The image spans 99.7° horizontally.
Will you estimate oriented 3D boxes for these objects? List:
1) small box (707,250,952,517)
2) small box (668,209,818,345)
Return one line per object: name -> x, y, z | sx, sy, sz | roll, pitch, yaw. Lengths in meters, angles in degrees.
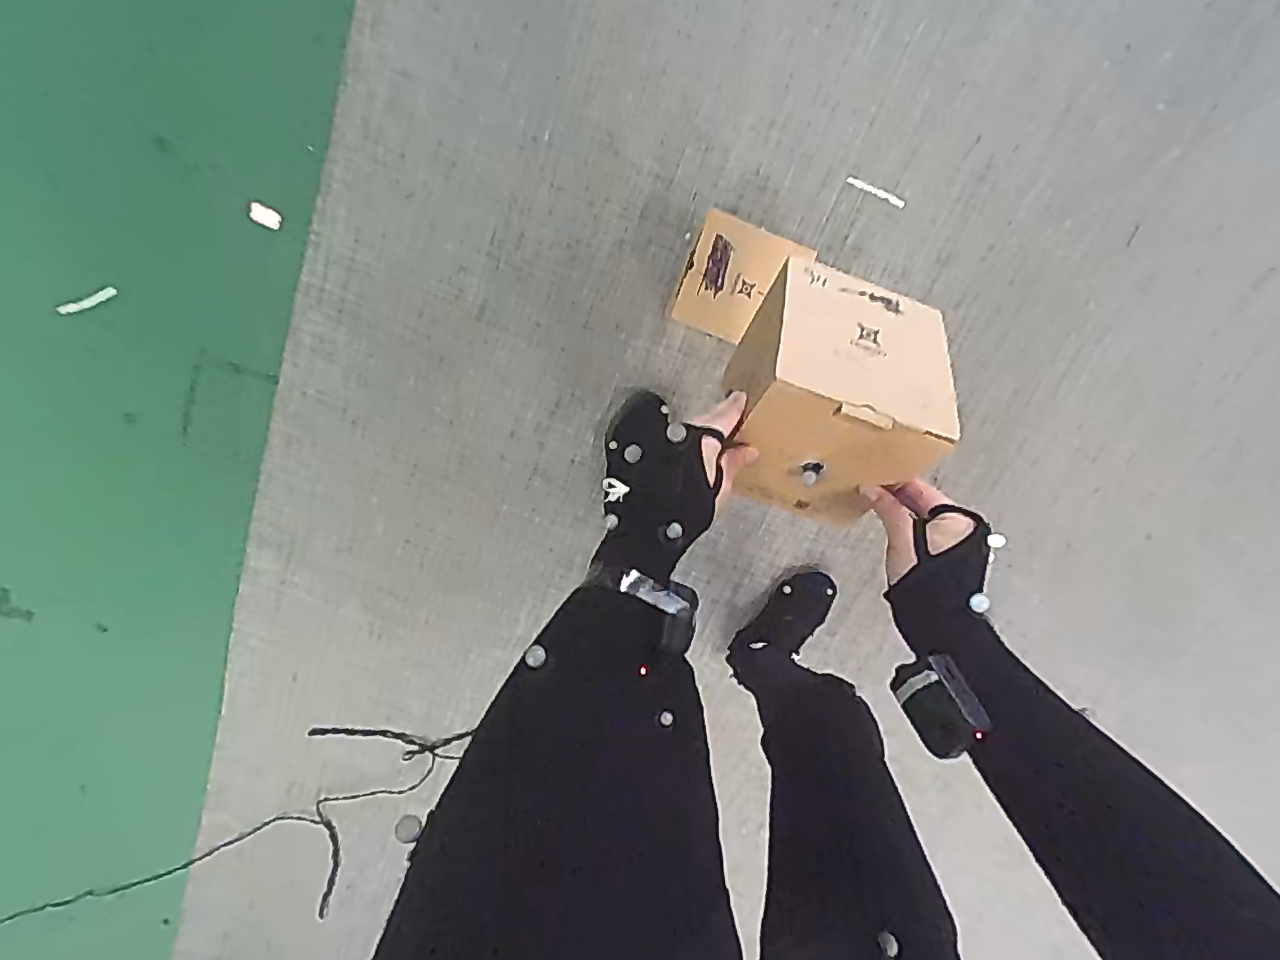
small box -> 0.178, -0.087, 0.547 | 0.168, 0.179, 0.176 | 19, 146, -5
small box -> 0.153, -0.315, 0.883 | 0.179, 0.176, 0.168 | 19, 108, -7
